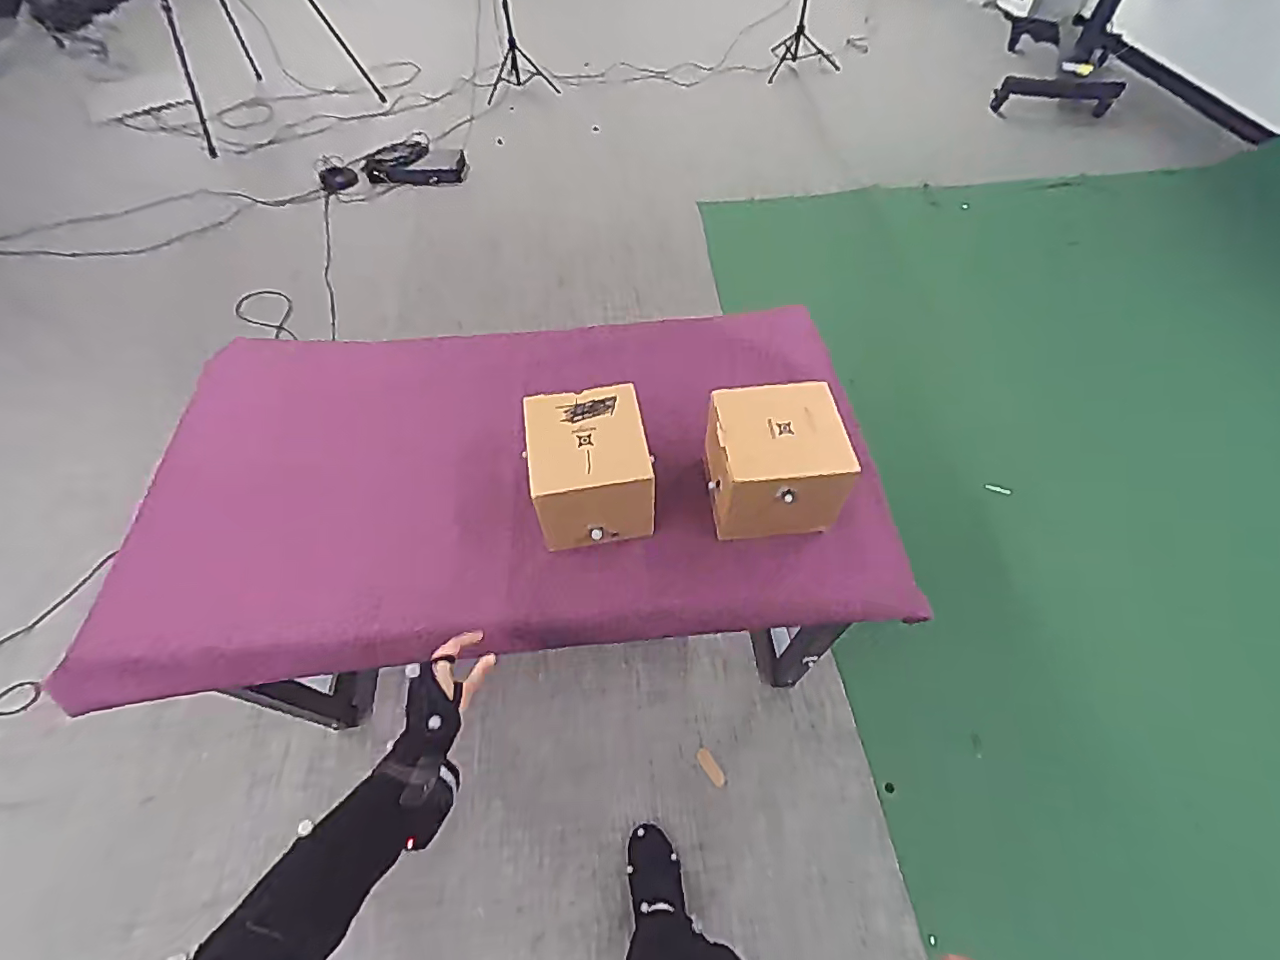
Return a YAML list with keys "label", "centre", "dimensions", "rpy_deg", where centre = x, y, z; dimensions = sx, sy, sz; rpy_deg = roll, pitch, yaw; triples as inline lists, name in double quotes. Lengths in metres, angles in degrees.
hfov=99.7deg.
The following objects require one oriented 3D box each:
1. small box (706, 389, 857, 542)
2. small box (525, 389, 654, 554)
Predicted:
- label: "small box"
  centre: [0.197, -0.016, 0.817]
  dimensions: [0.179, 0.176, 0.168]
  rpy_deg: [-4, 55, -2]
- label: "small box"
  centre: [-0.075, -0.011, 0.817]
  dimensions: [0.168, 0.176, 0.179]
  rpy_deg: [-9, 57, -5]
